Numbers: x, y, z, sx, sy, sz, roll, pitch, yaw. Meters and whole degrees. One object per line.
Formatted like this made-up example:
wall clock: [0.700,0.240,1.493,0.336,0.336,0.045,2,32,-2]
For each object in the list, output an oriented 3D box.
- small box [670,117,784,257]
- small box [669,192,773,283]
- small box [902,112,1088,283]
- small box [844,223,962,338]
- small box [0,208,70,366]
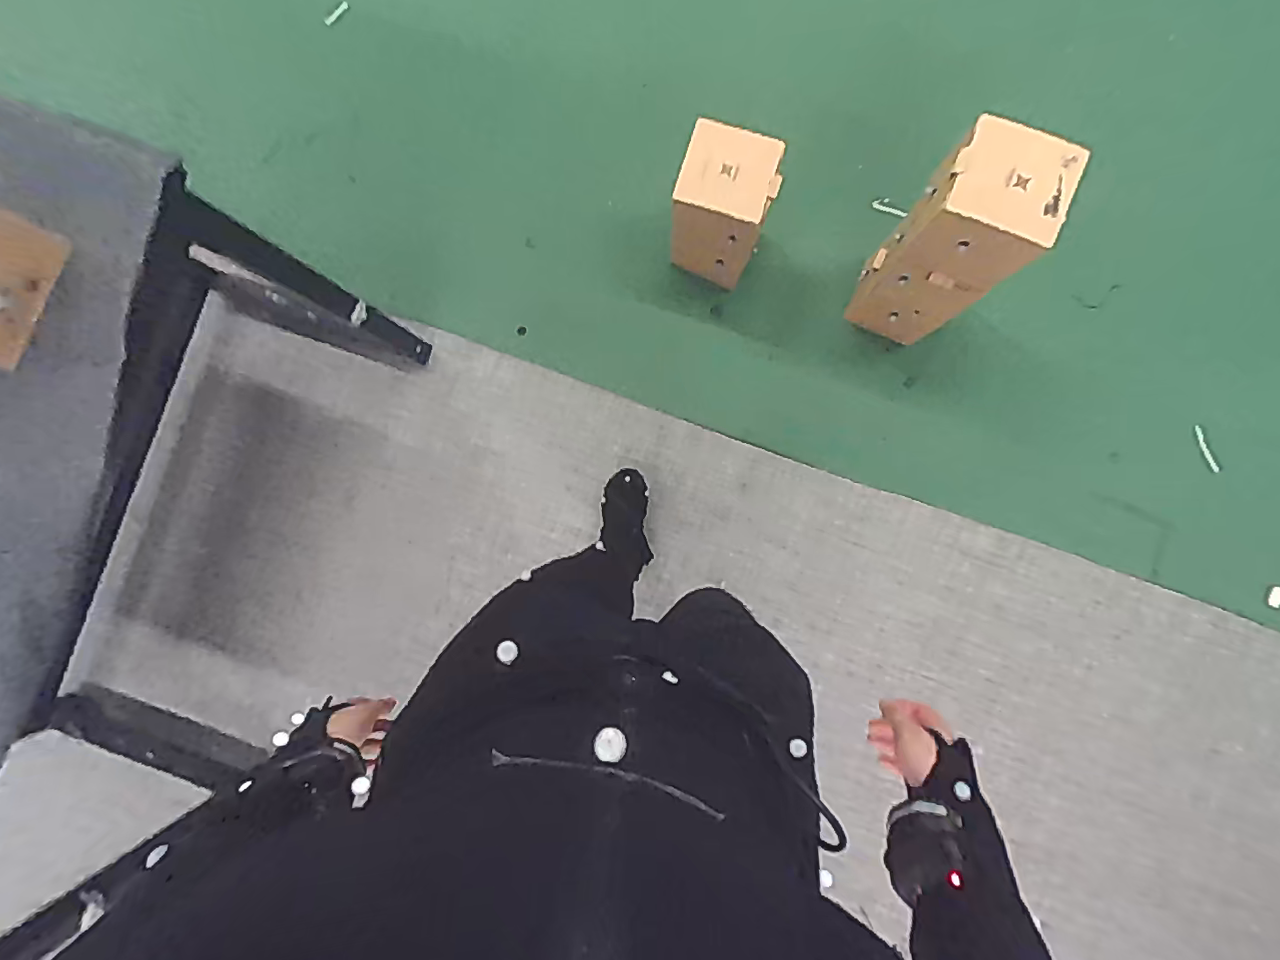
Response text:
small box: [0.167,-0.576,1.089,0.179,0.176,0.168,18,89,4]
small box: [0.180,-0.581,1.251,0.179,0.176,0.168,26,89,3]
small box: [0.573,-0.456,0.902,0.179,0.176,0.168,23,89,4]
small box: [0.599,-0.441,1.229,0.179,0.176,0.168,24,90,3]
small box: [-0.767,-0.234,0.548,0.179,0.176,0.168,25,90,5]
